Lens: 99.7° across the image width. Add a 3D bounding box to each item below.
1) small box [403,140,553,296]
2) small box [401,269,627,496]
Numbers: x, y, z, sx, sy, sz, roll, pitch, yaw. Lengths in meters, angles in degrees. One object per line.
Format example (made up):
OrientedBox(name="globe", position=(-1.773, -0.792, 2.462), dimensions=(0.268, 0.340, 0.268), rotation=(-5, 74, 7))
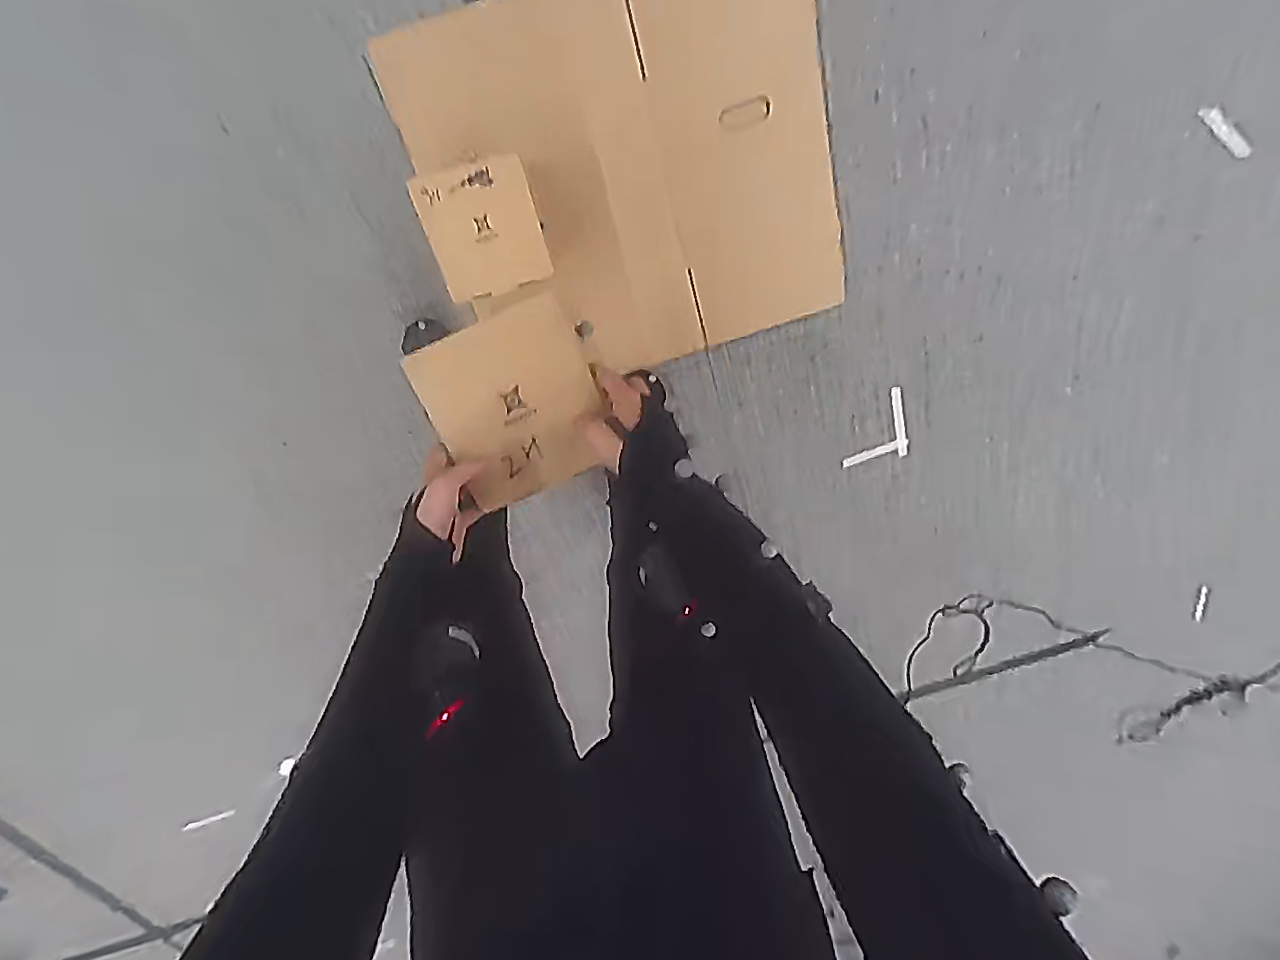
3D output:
OrientedBox(name="small box", position=(-0.238, -0.410, 0.850), dimensions=(0.168, 0.176, 0.179), rotation=(-16, 118, 0))
OrientedBox(name="small box", position=(-0.122, -0.111, 0.600), dimensions=(0.168, 0.176, 0.179), rotation=(-22, 106, 7))
